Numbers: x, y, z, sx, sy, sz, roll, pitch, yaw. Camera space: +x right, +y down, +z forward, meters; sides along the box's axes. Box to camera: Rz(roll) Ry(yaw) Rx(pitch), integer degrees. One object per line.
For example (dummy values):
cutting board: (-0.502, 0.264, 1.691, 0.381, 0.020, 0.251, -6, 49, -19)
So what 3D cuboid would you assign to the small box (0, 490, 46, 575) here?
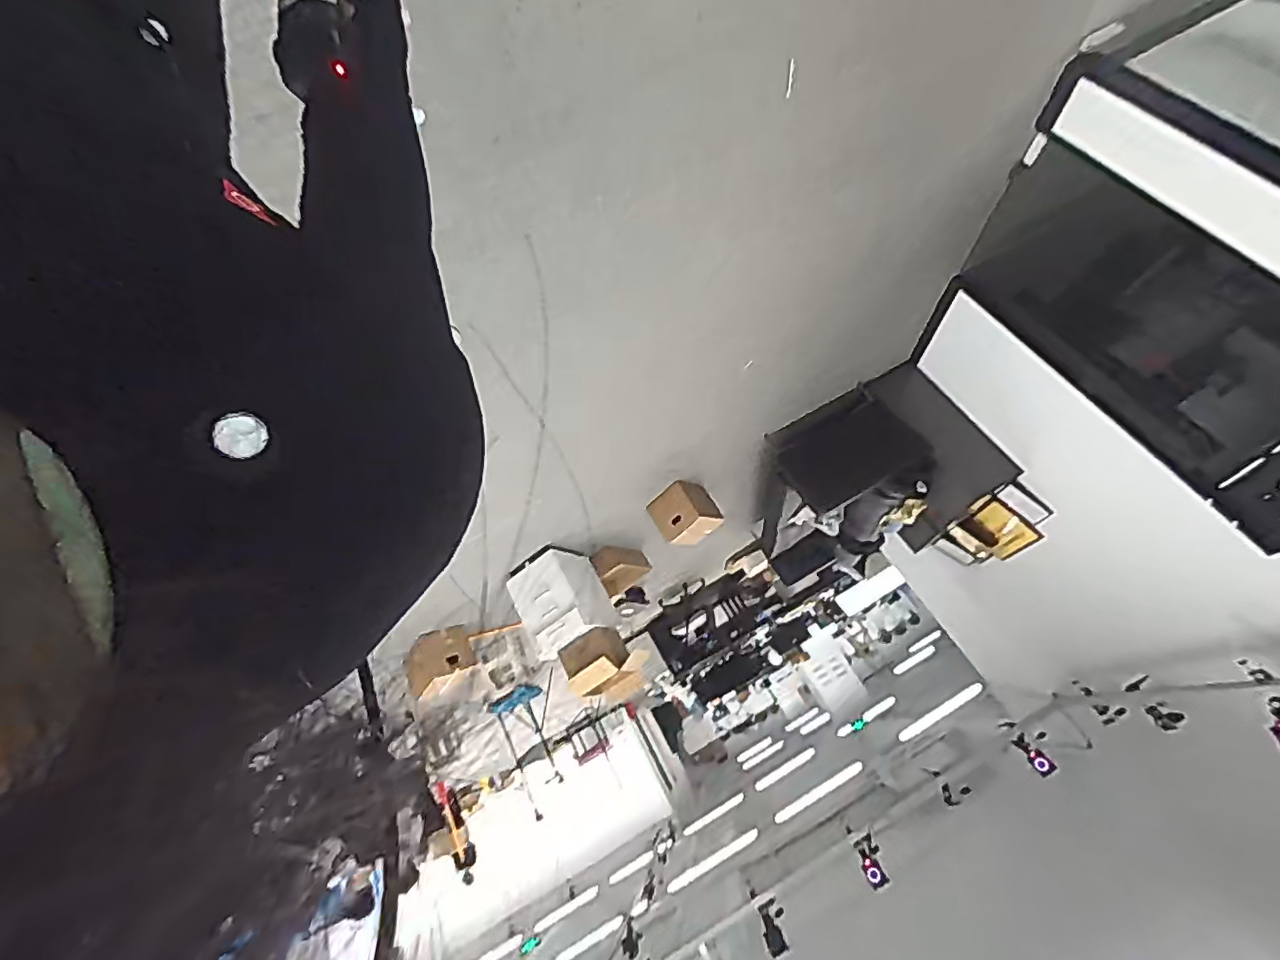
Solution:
small box: (-1.741, 0.143, 1.427, 0.168, 0.176, 0.179, -25, 156, -17)
